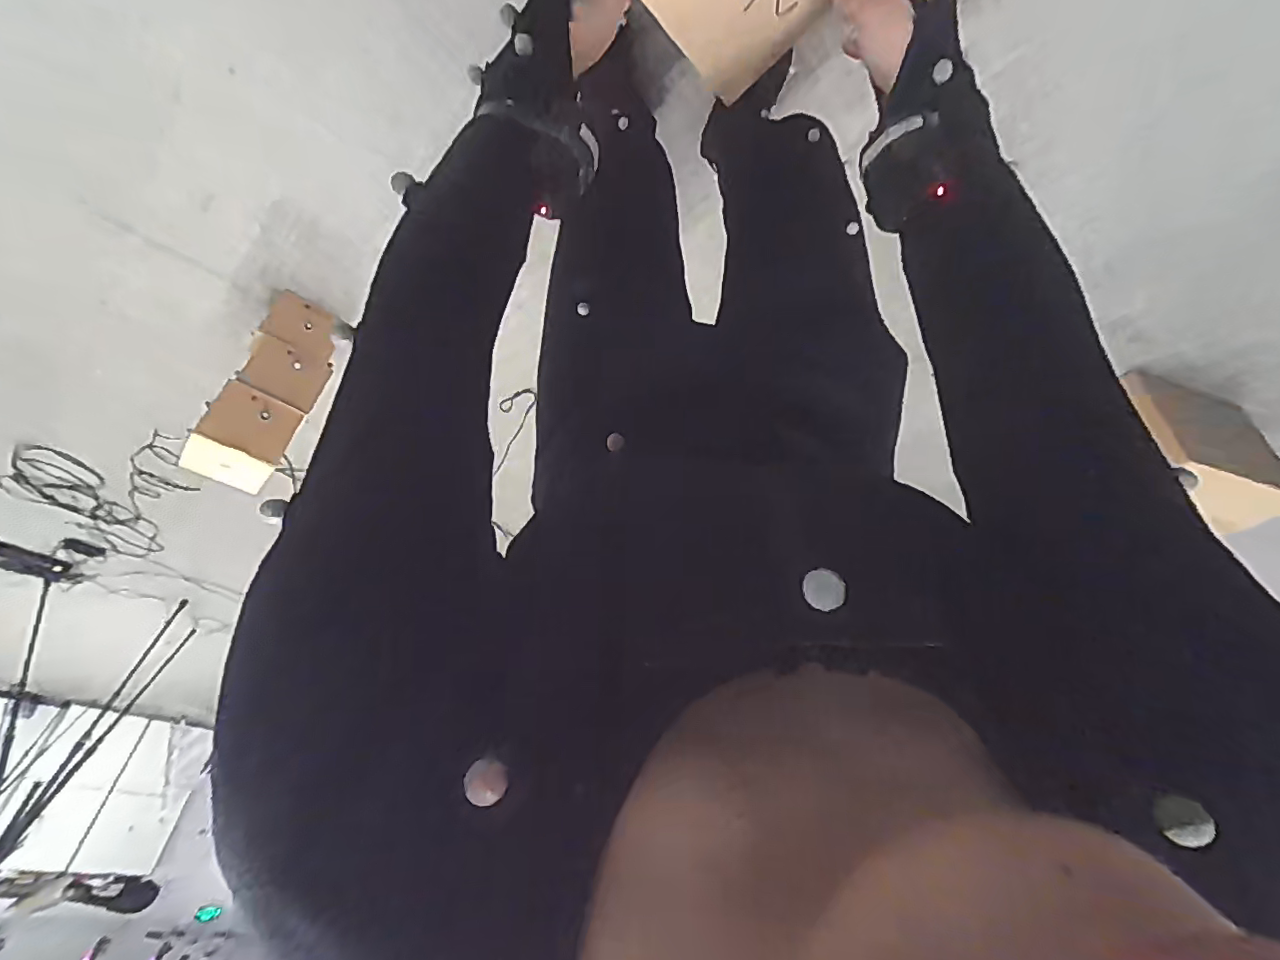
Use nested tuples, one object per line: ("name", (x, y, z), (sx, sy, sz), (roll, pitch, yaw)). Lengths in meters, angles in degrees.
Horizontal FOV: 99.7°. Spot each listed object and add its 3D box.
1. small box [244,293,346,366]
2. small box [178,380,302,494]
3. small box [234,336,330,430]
("small box", (-0.926, -0.366, 1.461), (0.168, 0.176, 0.179), (30, 138, -30))
("small box", (-0.935, -0.100, 1.273), (0.168, 0.176, 0.179), (31, 136, -32))
("small box", (-0.922, -0.227, 1.374), (0.168, 0.176, 0.179), (32, 136, -33))
